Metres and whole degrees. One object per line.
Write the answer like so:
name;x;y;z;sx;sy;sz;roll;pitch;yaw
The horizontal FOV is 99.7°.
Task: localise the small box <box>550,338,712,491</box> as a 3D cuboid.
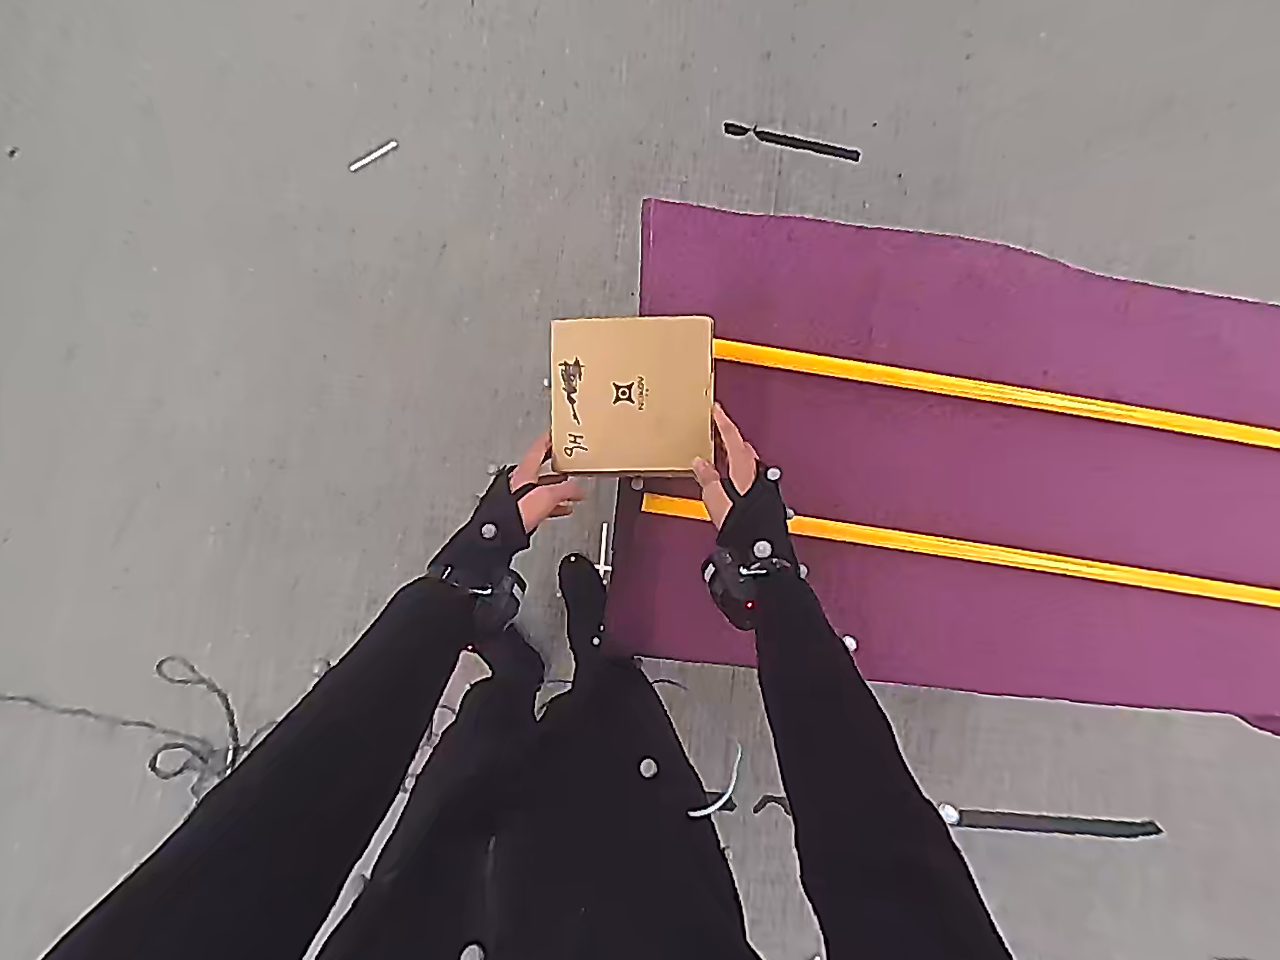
small box;-0.009;-0.071;0.664;0.179;0.176;0.168;0;88;2
